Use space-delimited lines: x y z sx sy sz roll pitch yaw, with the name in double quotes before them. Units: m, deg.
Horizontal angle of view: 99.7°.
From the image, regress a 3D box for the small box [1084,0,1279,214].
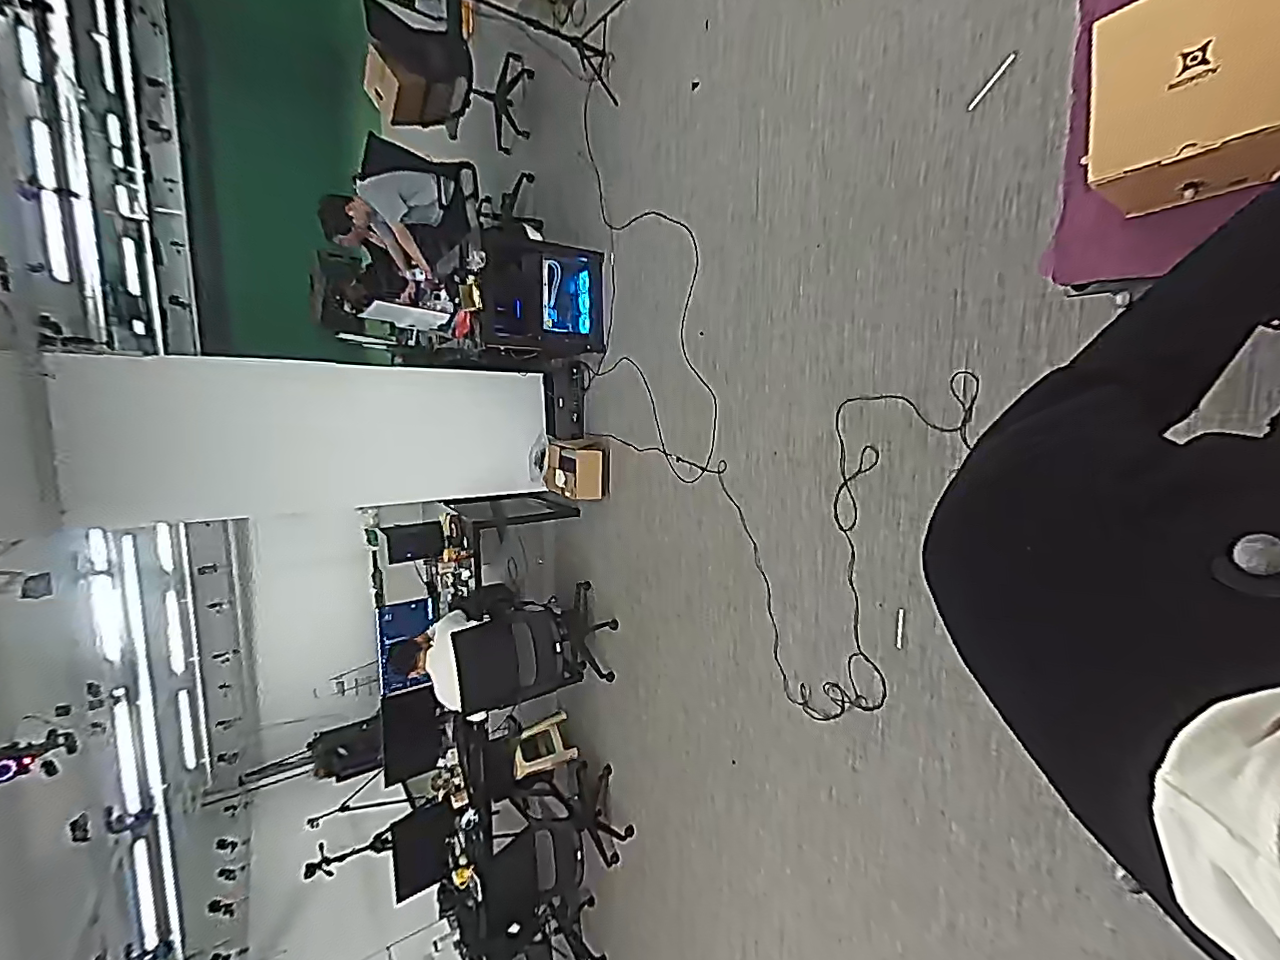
"small box" 0.608 -0.417 0.583 0.168 0.176 0.179 4 98 53
